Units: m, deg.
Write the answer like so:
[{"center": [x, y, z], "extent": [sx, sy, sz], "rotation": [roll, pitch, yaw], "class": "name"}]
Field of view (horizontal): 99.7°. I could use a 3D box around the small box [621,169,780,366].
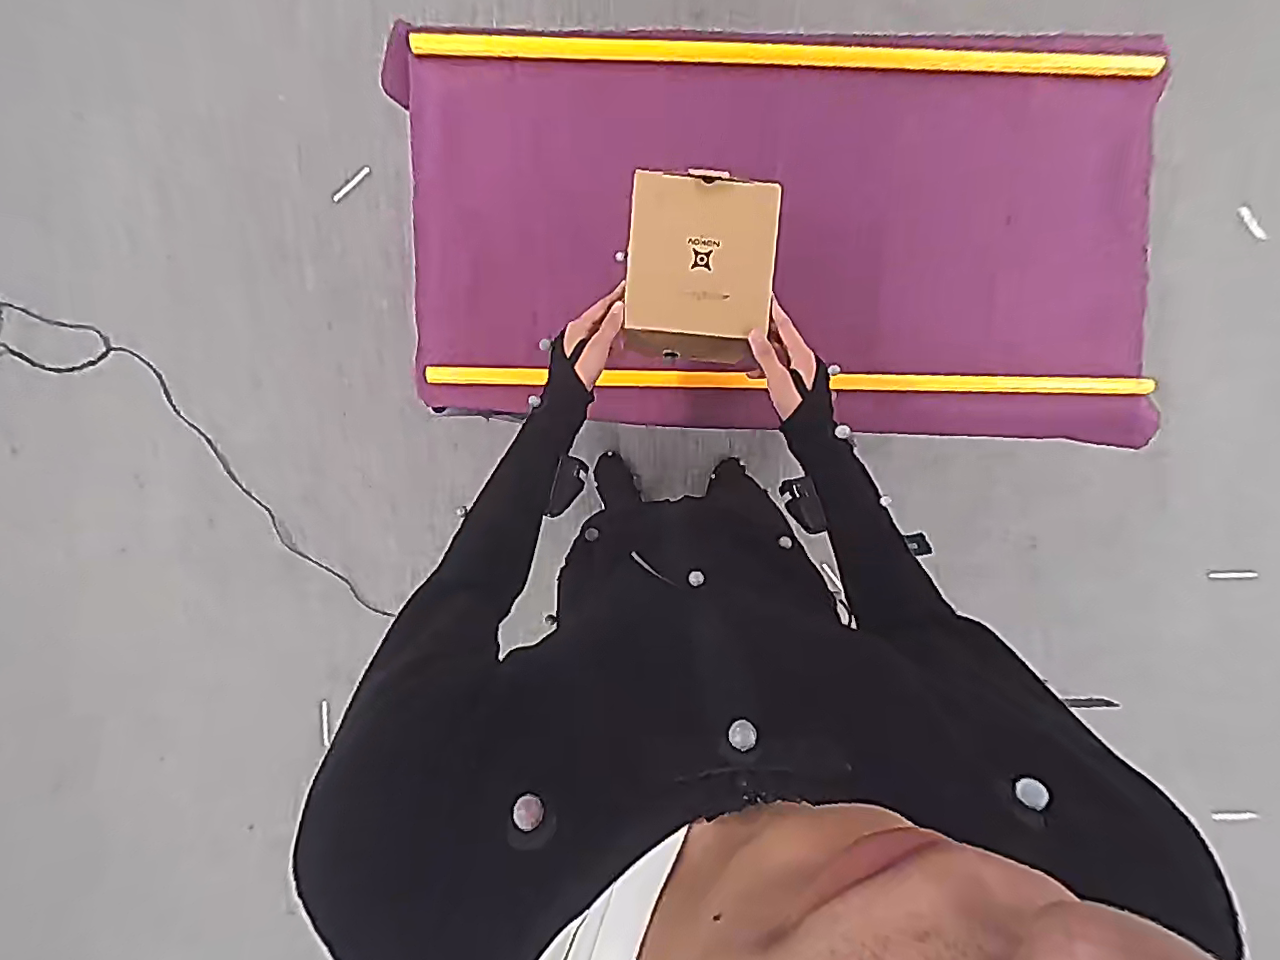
[{"center": [0.065, -0.251, 0.678], "extent": [0.168, 0.176, 0.179], "rotation": [5, 92, -2], "class": "small box"}]
